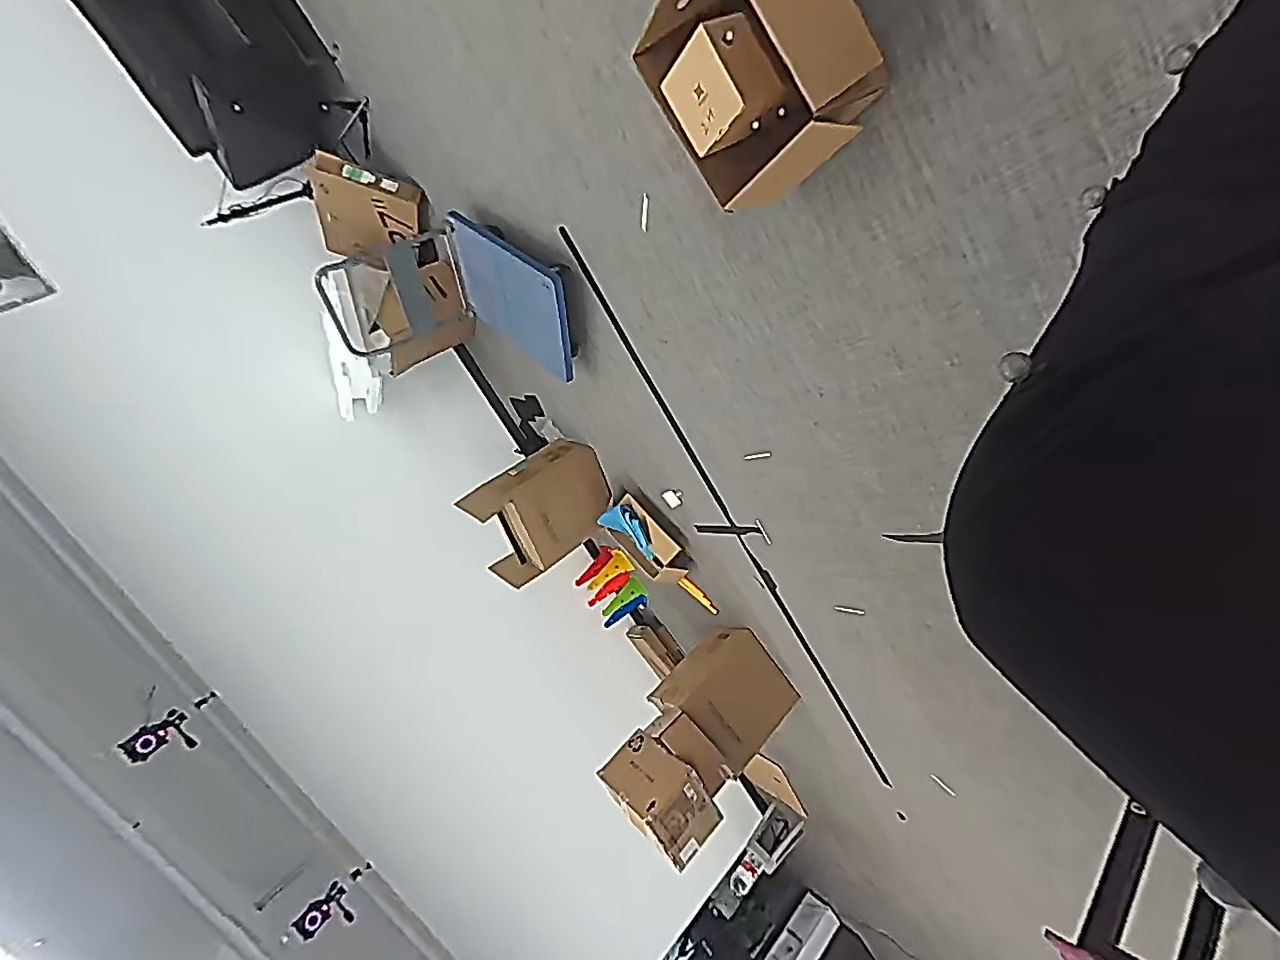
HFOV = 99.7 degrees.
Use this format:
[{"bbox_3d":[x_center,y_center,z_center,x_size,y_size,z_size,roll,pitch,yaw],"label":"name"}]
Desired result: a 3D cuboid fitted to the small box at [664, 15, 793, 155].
[{"bbox_3d":[0.191,-0.850,1.163,0.179,0.176,0.168,57,154,-10],"label":"small box"}]
